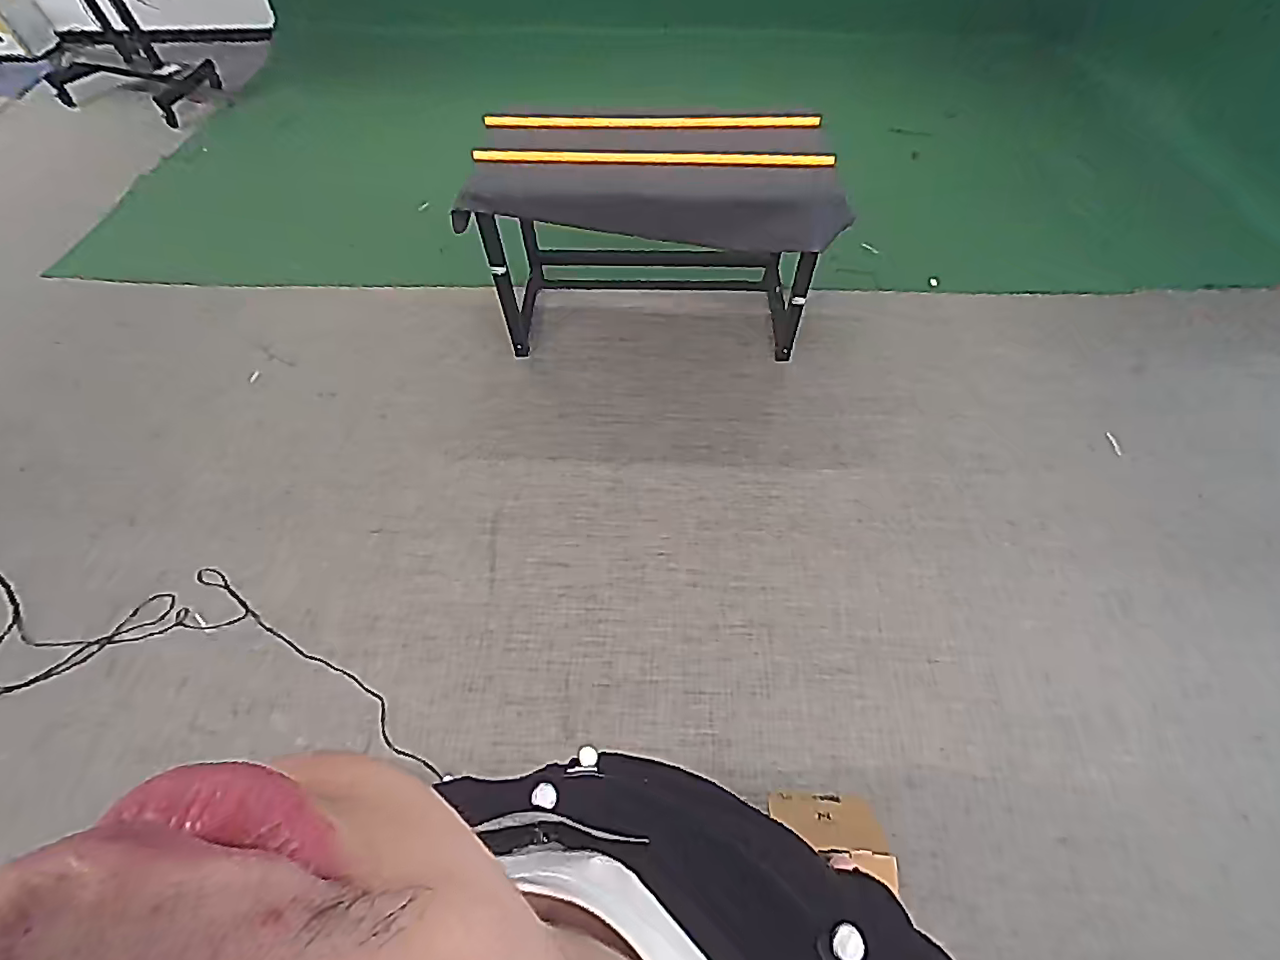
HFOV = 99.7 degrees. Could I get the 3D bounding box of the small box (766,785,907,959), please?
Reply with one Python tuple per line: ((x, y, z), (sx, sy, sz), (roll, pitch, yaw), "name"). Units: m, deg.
((0.293, 0.601, 0.833), (0.168, 0.179, 0.176), (-5, 87, 7), "small box")
